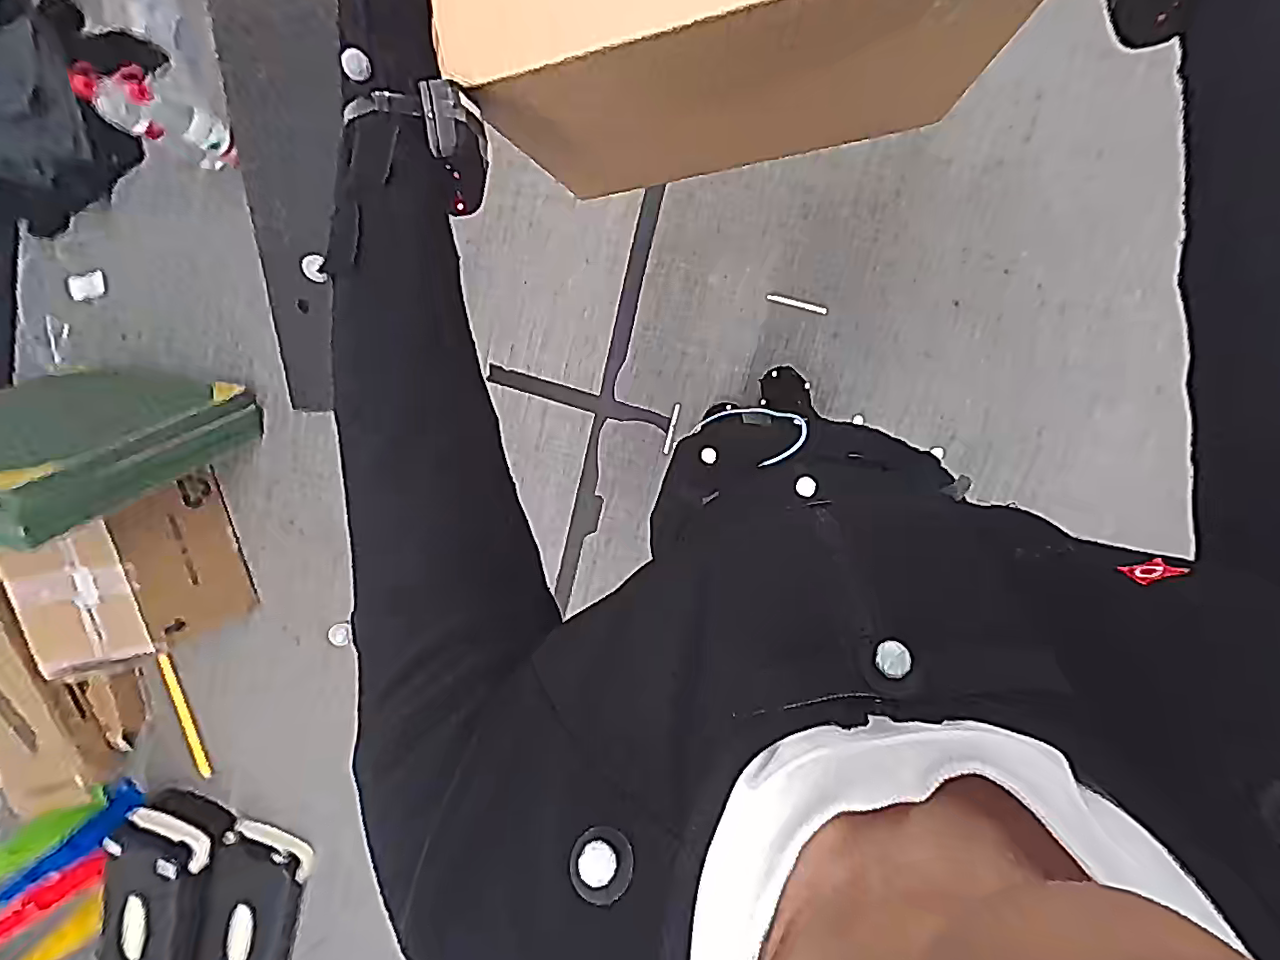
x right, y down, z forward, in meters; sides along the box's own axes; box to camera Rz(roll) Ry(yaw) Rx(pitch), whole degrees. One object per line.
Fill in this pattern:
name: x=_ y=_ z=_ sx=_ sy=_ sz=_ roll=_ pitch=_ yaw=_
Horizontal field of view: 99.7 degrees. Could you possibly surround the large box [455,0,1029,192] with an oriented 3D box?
large box: x=0.077 y=-0.479 z=0.443 sx=0.408 sy=0.320 sz=0.320 roll=-6 pitch=104 yaw=12
